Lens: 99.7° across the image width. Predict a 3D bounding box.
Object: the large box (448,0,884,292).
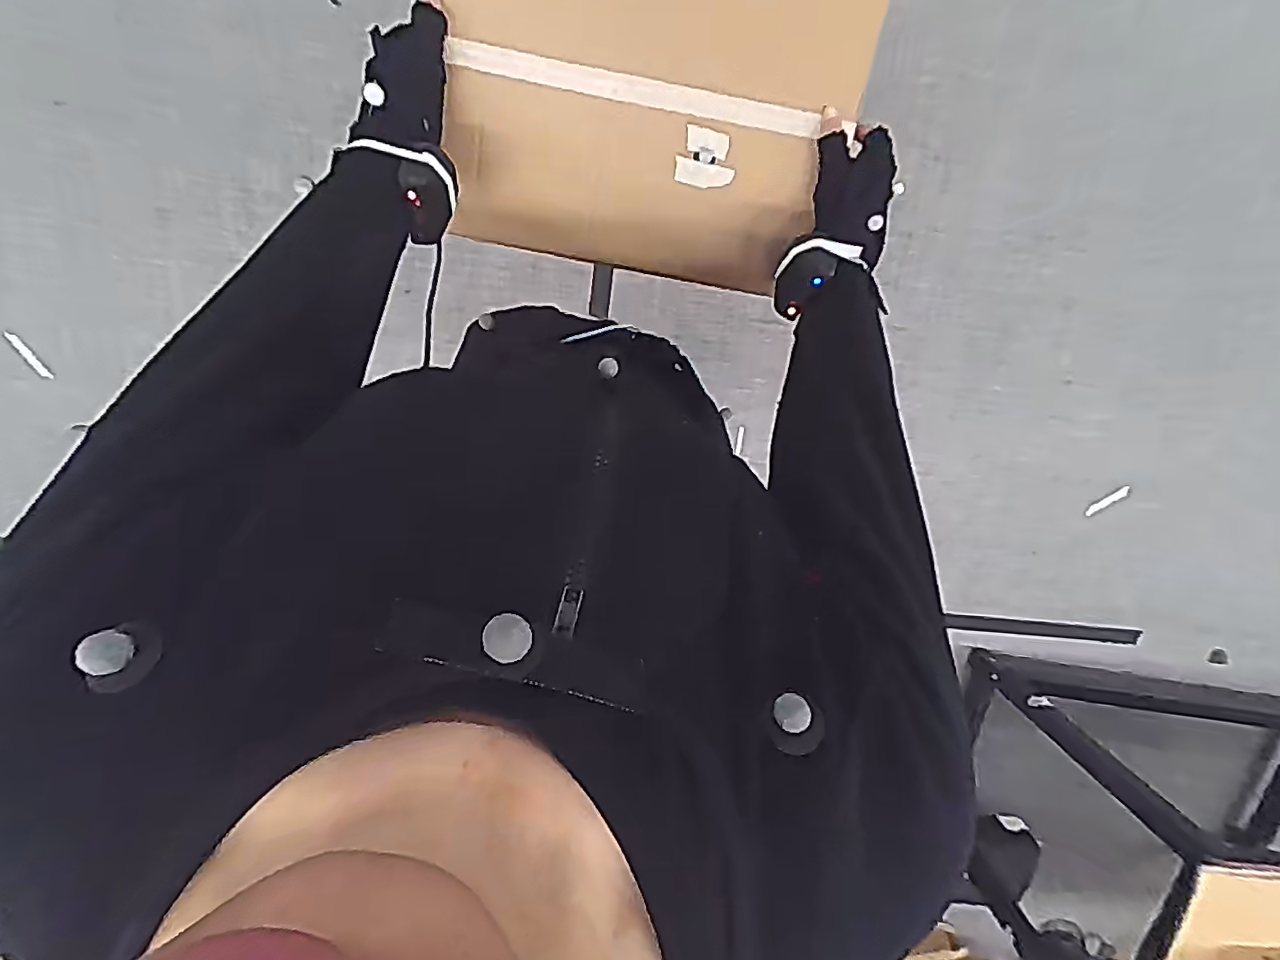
[{"bbox_3d":[0.011,-0.431,0.670,0.408,0.320,0.320,9,112,-4],"label":"large box"}]
